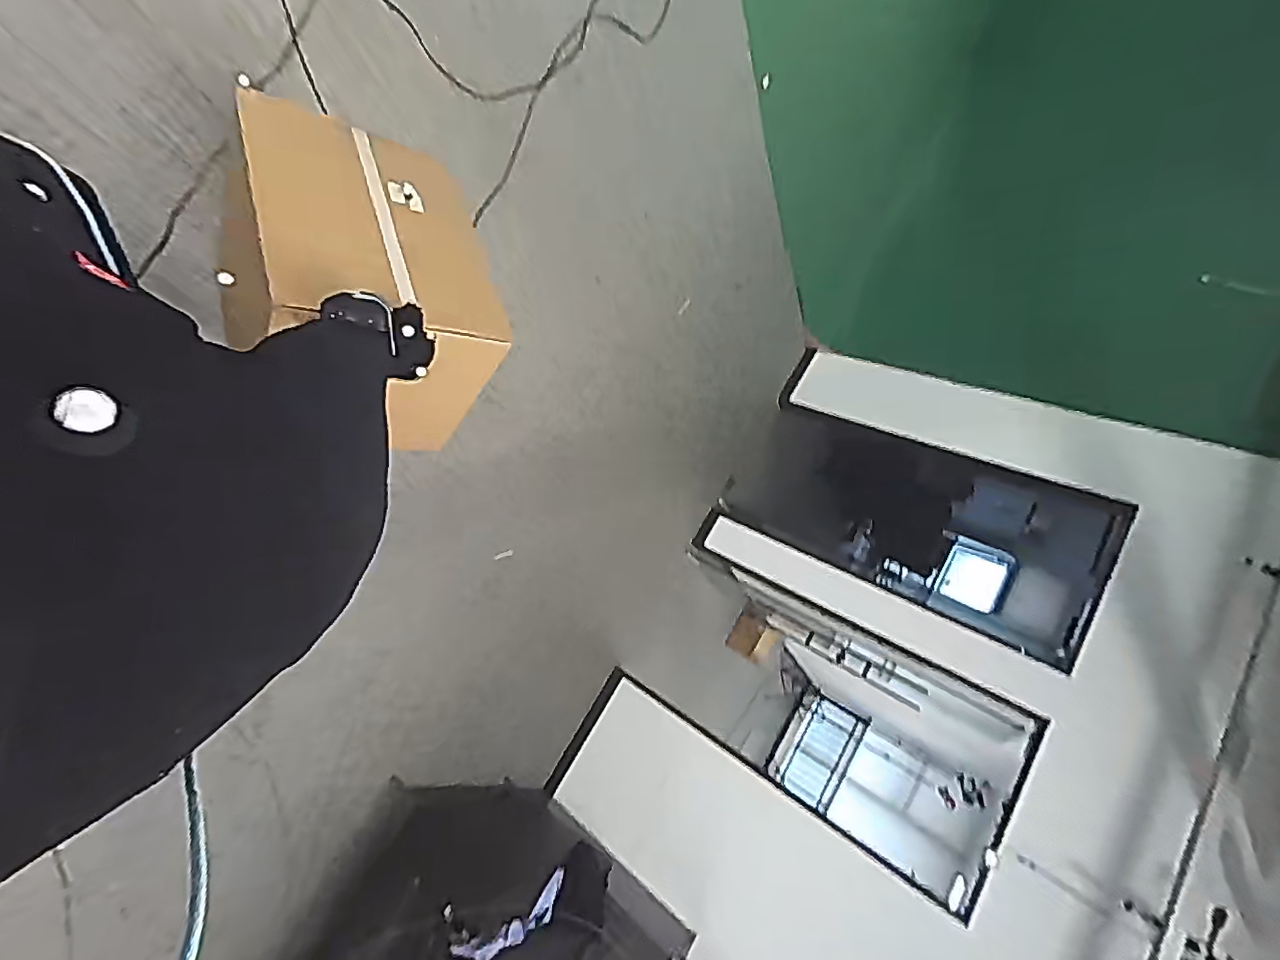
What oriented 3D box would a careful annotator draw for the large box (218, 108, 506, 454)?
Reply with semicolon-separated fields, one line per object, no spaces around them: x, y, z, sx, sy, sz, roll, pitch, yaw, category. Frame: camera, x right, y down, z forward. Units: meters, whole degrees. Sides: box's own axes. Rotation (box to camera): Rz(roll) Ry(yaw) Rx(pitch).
-0.477;-0.290;0.898;0.320;0.408;0.320;-1;150;-45;large box
